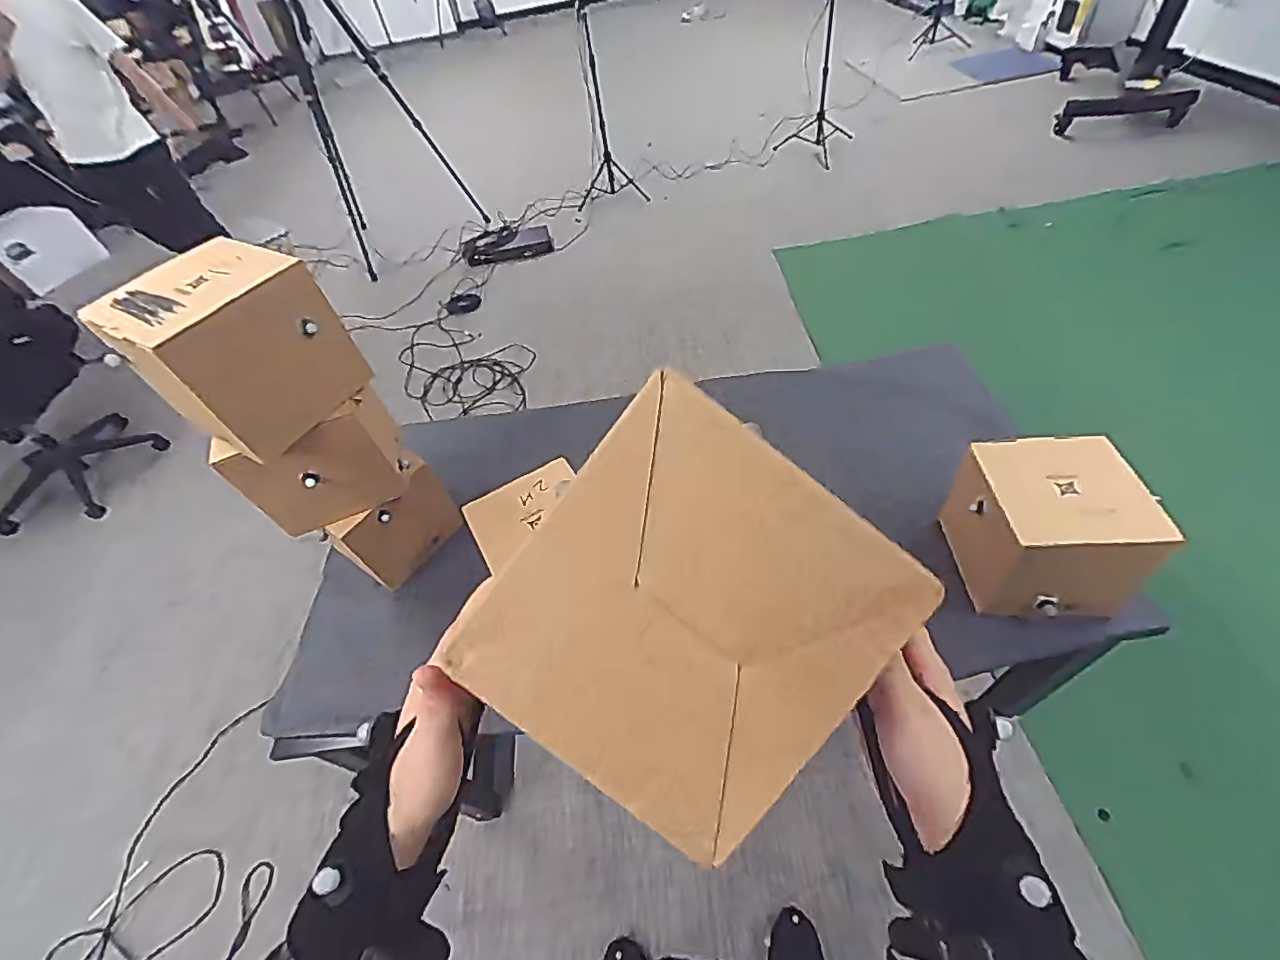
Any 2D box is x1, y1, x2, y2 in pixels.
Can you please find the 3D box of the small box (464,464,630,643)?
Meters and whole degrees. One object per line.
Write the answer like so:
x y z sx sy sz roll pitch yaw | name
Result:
-0.129 0.116 0.797 0.168 0.176 0.179 -28 51 -14 | small box

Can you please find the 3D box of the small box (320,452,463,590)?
-0.434 0.056 0.904 0.179 0.176 0.168 25 59 27 | small box

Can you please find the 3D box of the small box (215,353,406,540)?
-0.456 -0.045 0.775 0.179 0.176 0.168 -23 51 -9 | small box

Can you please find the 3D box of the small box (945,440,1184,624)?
0.527 0.070 0.710 0.168 0.176 0.179 -4 46 9 | small box
